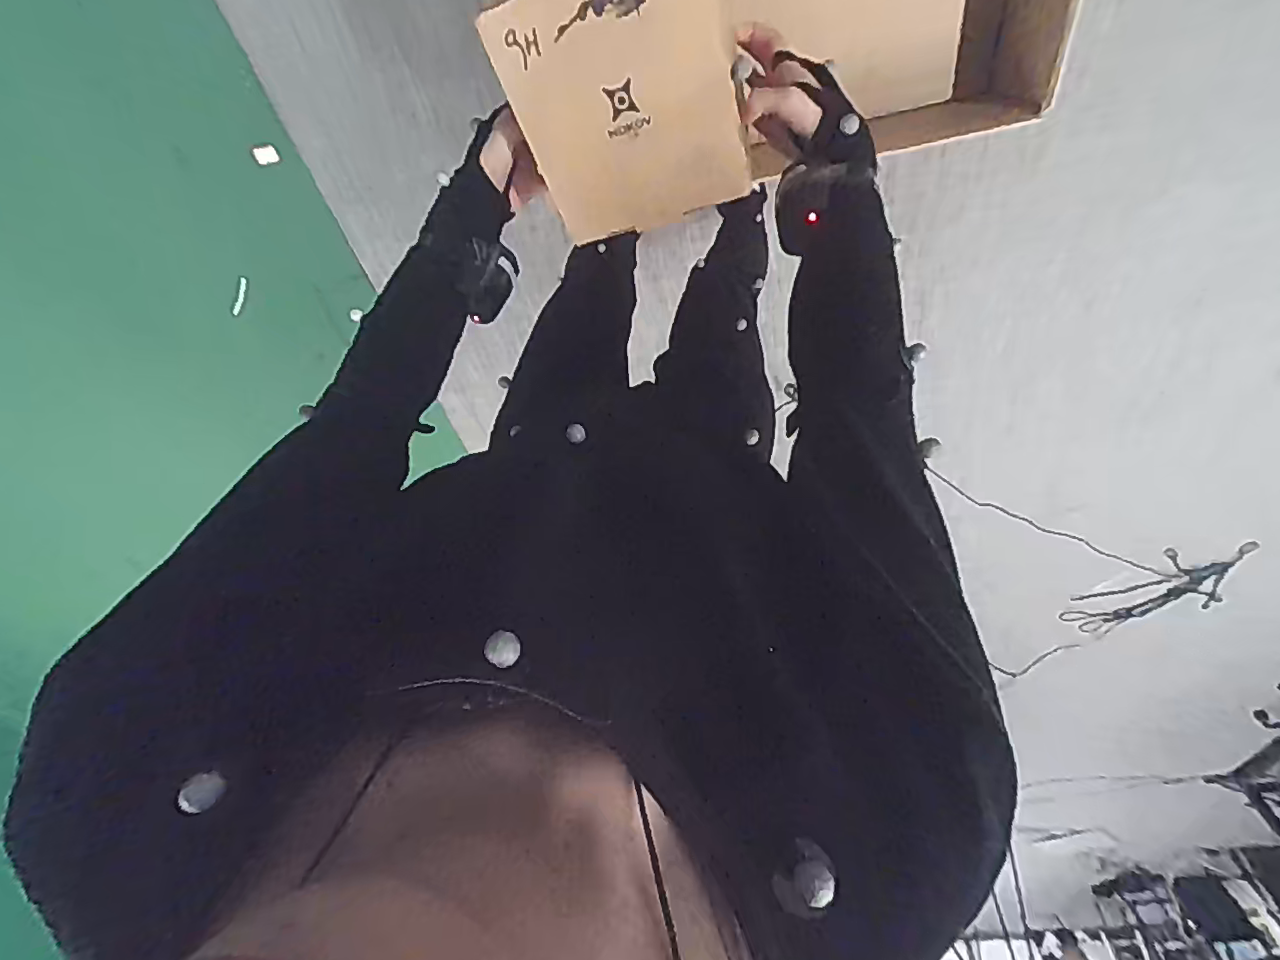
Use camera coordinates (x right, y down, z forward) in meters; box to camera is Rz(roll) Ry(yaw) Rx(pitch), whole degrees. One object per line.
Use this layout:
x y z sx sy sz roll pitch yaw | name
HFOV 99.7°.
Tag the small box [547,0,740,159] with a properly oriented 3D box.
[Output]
0.013 -0.472 0.560 0.168 0.176 0.179 -3 141 15 | small box
